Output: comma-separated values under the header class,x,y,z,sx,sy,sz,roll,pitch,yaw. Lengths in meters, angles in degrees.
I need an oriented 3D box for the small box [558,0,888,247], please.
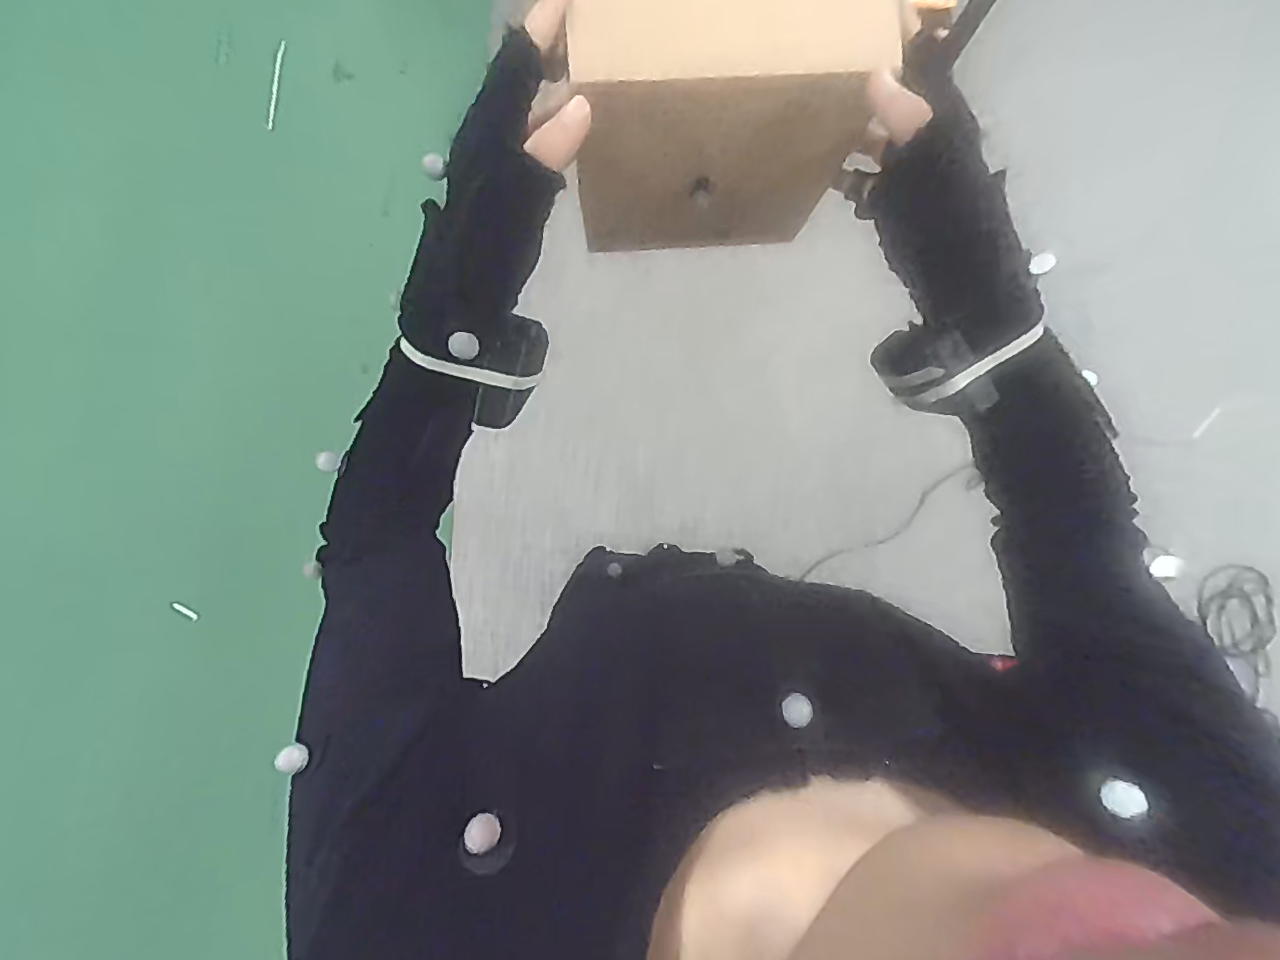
class,x,y,z,sx,sy,sz,roll,pitch,yaw
small box,0.037,-0.270,0.354,0.168,0.176,0.179,-4,85,-3
